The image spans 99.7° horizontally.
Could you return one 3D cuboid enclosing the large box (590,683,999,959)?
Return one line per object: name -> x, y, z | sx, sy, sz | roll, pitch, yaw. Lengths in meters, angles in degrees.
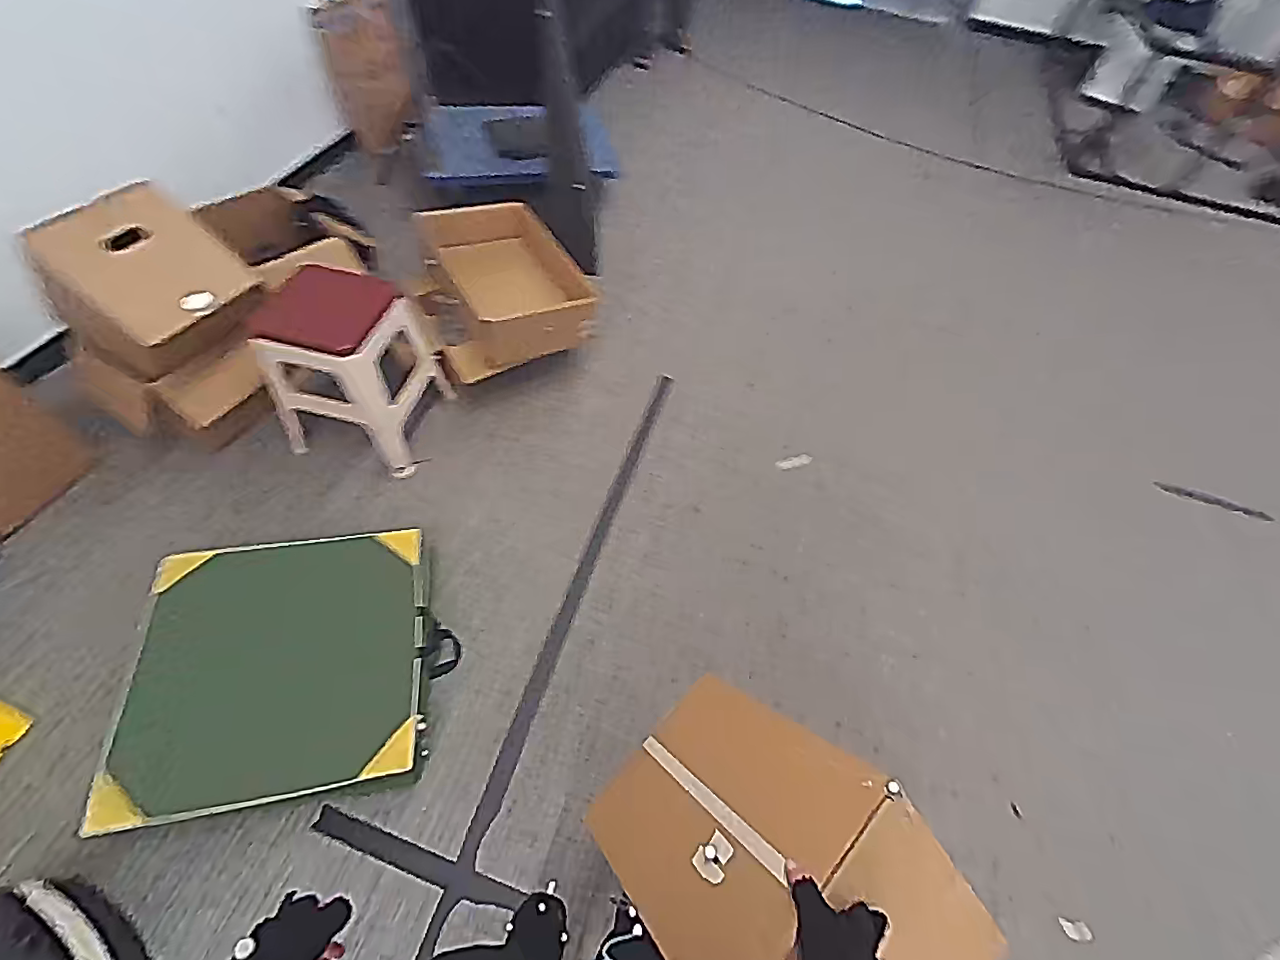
large box -> 0.192, 0.571, 0.782 | 0.320, 0.408, 0.320 | -41, 106, -19
